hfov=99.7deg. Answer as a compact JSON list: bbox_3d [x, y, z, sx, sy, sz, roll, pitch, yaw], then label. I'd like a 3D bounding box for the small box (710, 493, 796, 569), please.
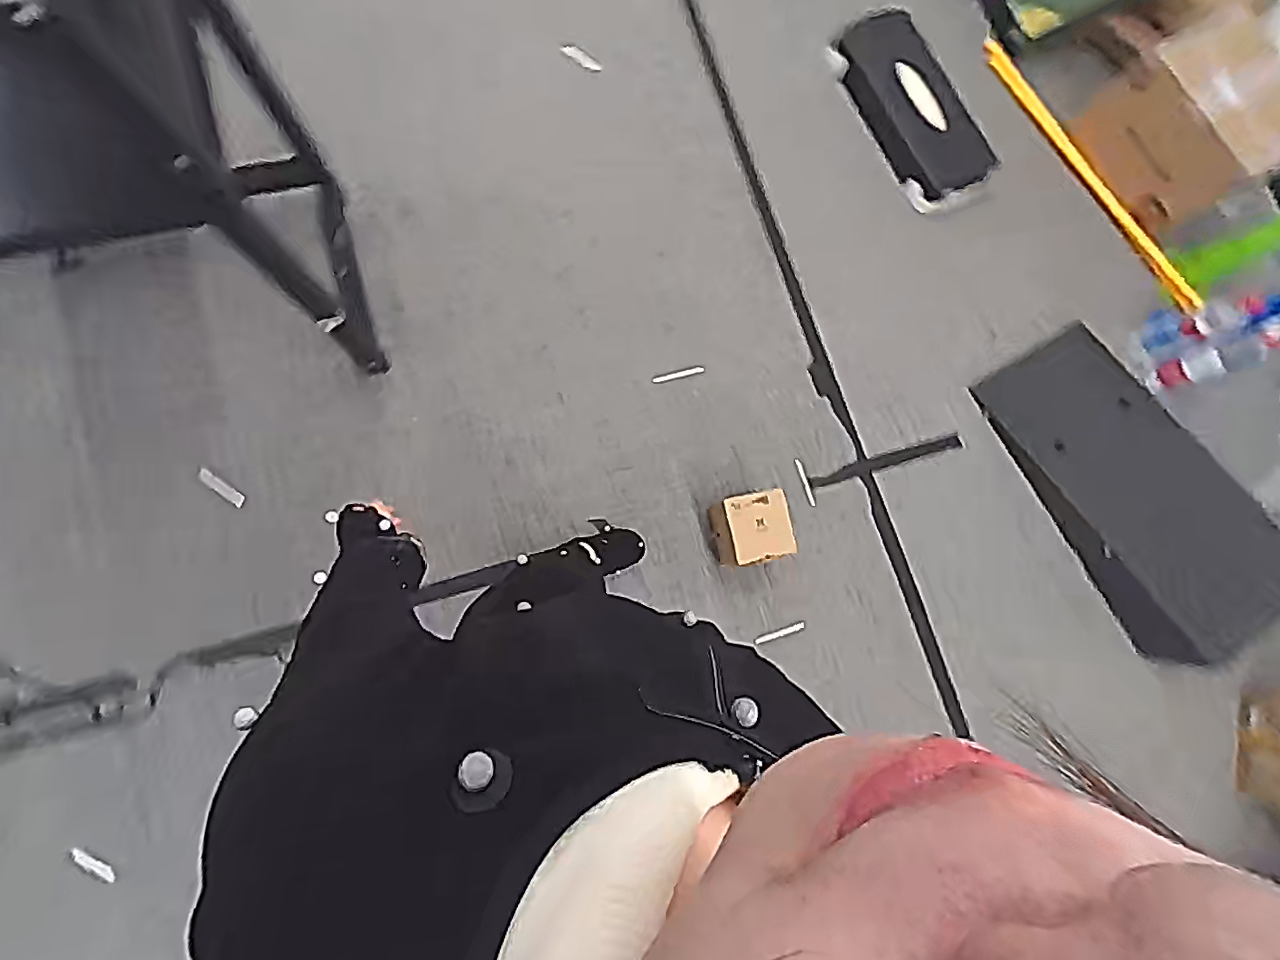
[{"bbox_3d":[0.302,0.138,1.474,0.168,0.176,0.179,-10,84,-9],"label":"small box"}]
